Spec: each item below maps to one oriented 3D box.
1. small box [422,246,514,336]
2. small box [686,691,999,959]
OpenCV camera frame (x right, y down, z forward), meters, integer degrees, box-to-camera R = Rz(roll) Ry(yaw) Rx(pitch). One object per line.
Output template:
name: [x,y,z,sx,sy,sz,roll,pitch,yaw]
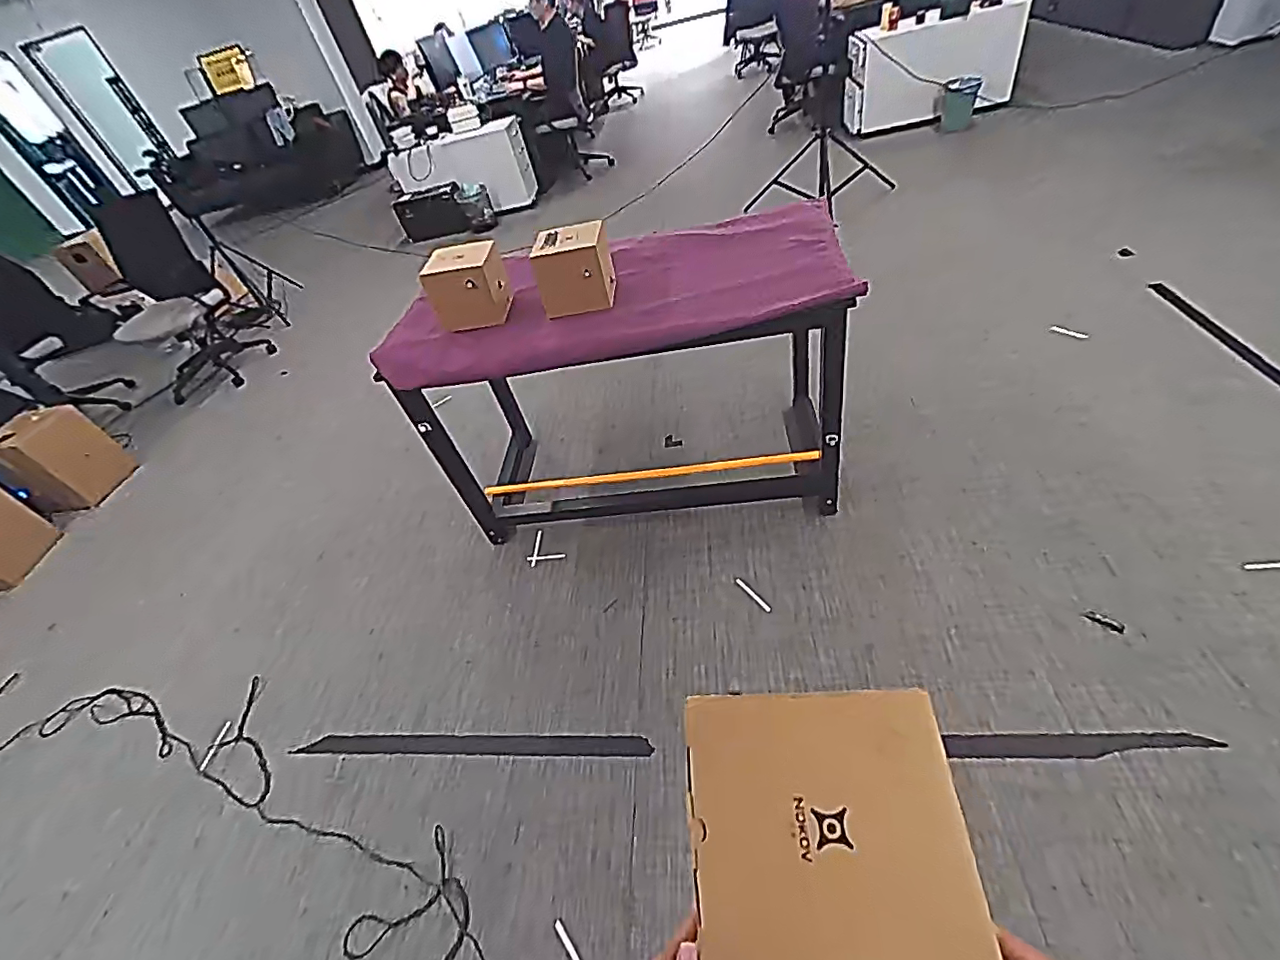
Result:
small box: [-0.464,-0.520,1.492,0.179,0.176,0.168,-6,44,7]
small box: [0.133,0.266,0.425,0.179,0.176,0.168,-6,59,7]
